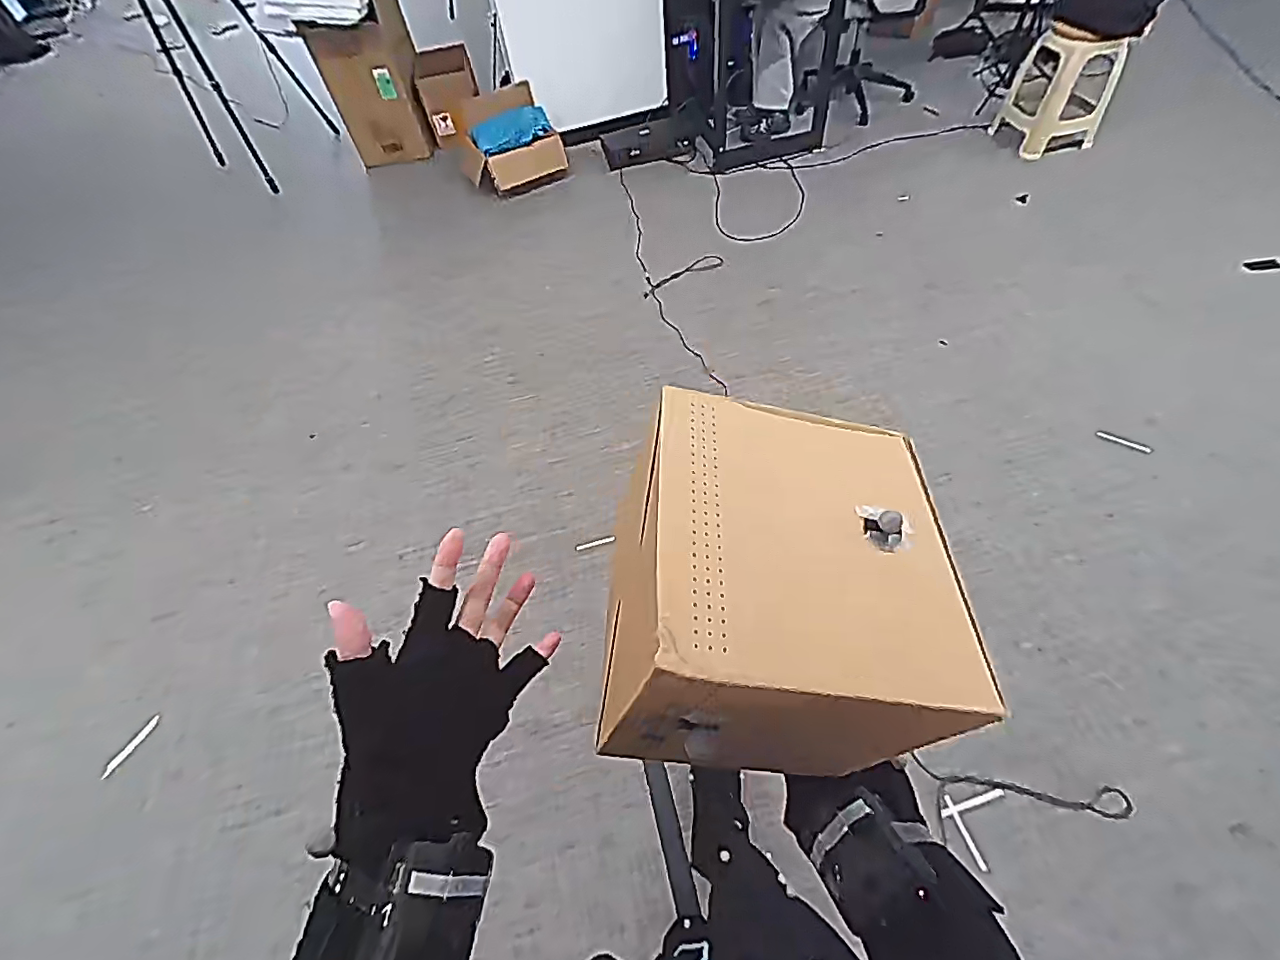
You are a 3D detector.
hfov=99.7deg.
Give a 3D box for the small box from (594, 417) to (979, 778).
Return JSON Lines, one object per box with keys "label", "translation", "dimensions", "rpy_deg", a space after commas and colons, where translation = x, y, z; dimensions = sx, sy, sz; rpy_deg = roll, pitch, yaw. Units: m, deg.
{"label": "small box", "translation": [0.069, 0.080, 0.359], "dimensions": [0.176, 0.168, 0.179], "rpy_deg": [9, 51, -7]}
